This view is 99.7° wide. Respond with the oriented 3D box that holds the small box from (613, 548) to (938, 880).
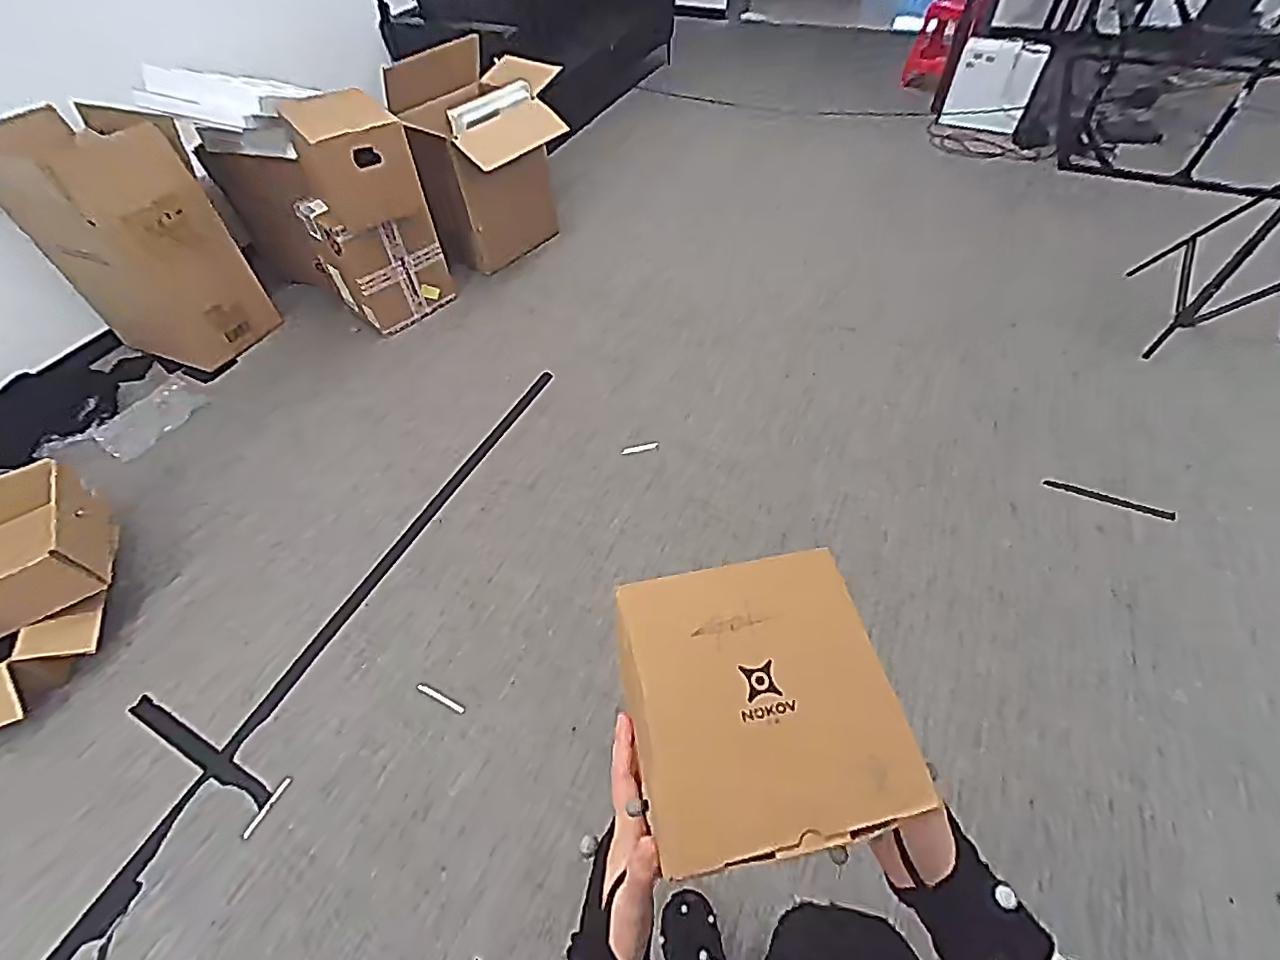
[{"bbox_3d":[0.076,0.178,0.412,0.168,0.176,0.179,-9,55,-9],"label":"small box"}]
